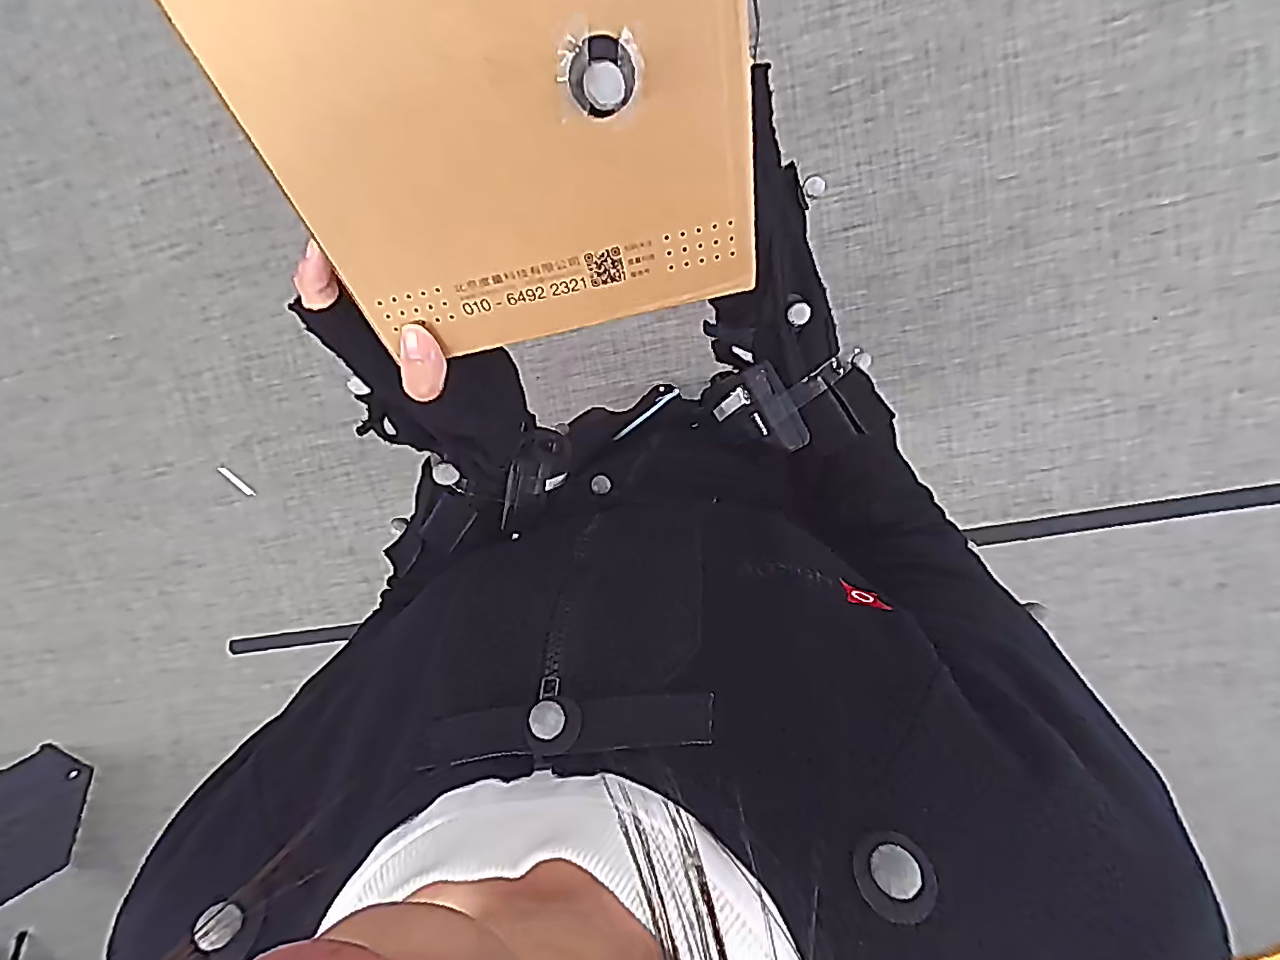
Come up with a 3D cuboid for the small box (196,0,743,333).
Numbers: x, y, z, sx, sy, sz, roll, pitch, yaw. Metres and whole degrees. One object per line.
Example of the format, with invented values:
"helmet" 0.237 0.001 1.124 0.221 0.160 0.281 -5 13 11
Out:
"small box" -0.050 -0.188 0.255 0.168 0.179 0.176 -11 139 5
